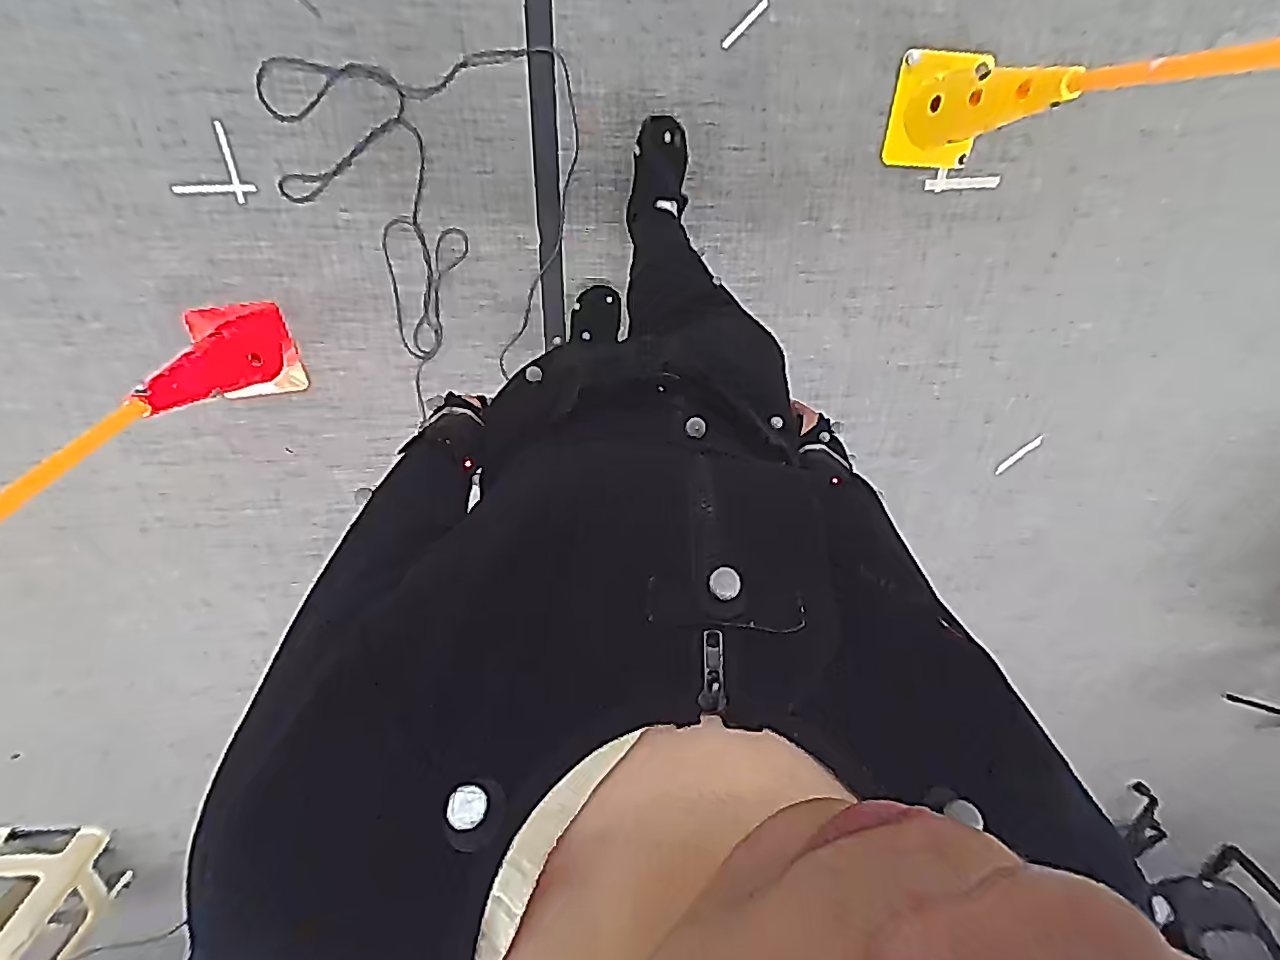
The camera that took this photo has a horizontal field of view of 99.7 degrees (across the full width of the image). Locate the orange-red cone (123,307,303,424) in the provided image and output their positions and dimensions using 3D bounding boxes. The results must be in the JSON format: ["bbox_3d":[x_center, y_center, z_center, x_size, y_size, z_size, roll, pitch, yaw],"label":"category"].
[{"bbox_3d":[-0.846,-0.192,1.037,0.199,0.360,0.198,-8,119,-5],"label":"orange-red cone"}]
